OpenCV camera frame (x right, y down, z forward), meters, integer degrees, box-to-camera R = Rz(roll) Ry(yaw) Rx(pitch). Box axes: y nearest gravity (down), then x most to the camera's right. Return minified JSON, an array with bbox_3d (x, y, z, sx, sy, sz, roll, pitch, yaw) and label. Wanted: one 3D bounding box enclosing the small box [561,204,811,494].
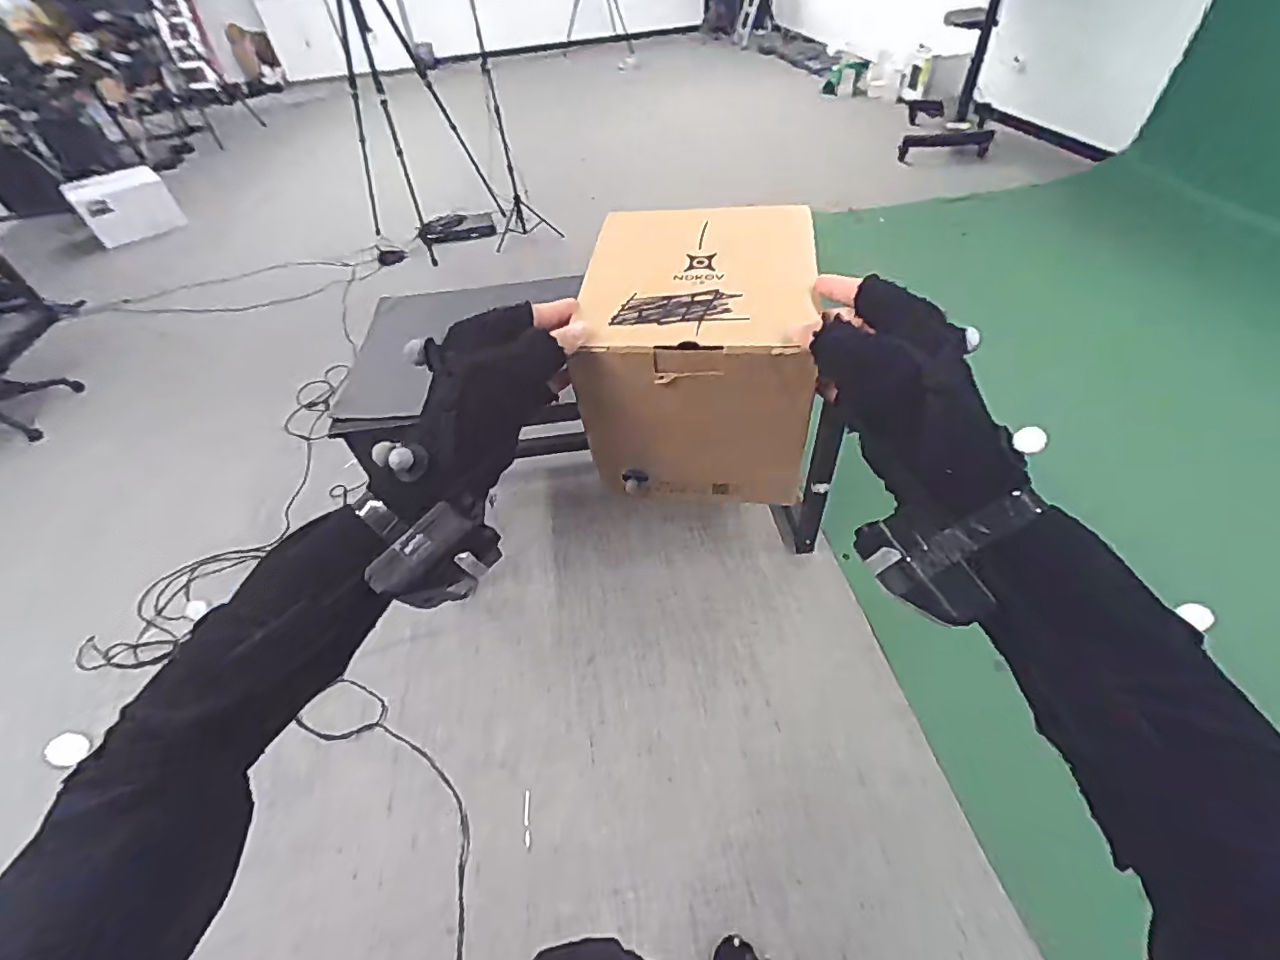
[{"bbox_3d":[0.048,-0.102,0.456,0.168,0.176,0.179,2,52,10],"label":"small box"}]
